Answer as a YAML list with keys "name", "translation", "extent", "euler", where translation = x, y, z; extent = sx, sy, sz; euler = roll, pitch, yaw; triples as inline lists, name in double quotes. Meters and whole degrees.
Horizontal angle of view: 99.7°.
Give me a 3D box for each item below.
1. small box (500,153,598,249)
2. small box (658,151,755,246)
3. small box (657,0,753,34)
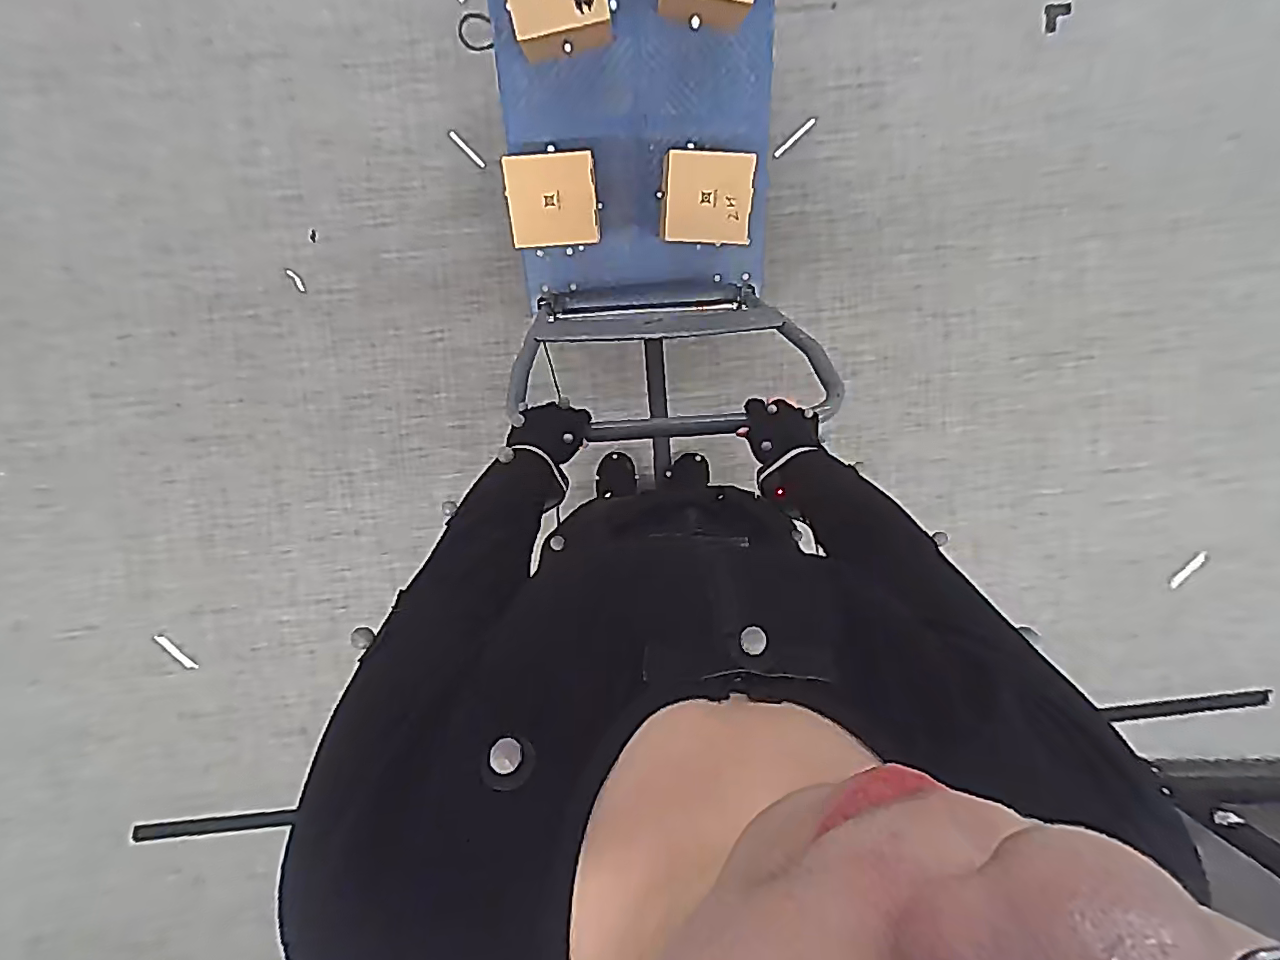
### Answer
- name: "small box"
  translation: [-0.184, -0.587, 1.152]
  extent: [0.179, 0.176, 0.168]
  euler: [-6, 115, -2]
- name: "small box"
  translation: [0.133, -0.599, 1.164]
  extent: [0.179, 0.176, 0.168]
  euler: [1, 116, -4]
- name: "small box"
  translation: [0.127, -0.964, 0.990]
  extent: [0.168, 0.176, 0.179]
  euler: [6, 116, -6]
